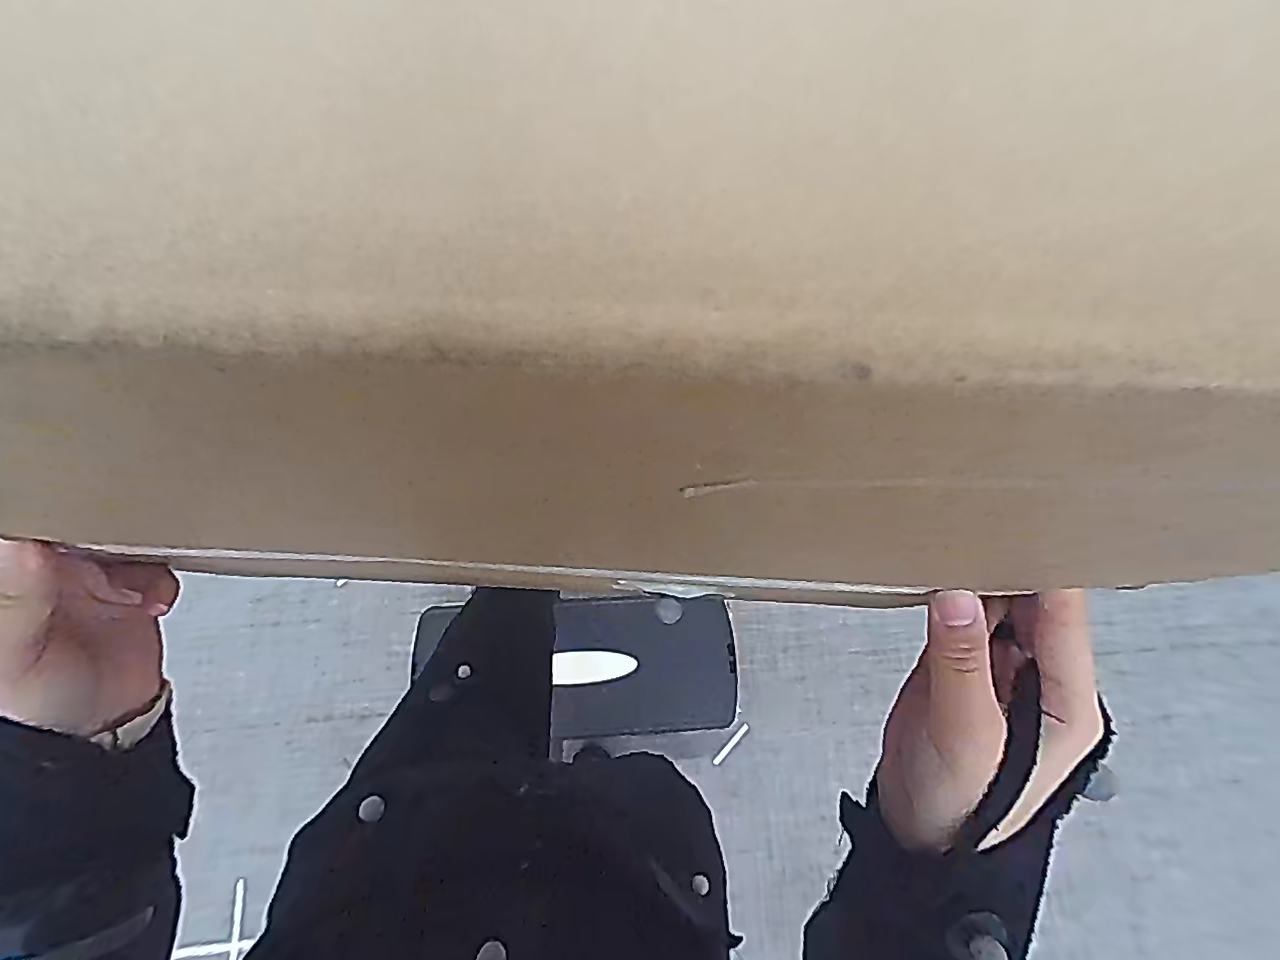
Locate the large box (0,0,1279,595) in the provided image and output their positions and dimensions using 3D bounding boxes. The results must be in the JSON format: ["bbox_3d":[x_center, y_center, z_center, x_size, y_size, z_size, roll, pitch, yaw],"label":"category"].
[{"bbox_3d":[-0.050,-0.120,0.253,0.408,0.320,0.320,2,75,2],"label":"large box"}]
